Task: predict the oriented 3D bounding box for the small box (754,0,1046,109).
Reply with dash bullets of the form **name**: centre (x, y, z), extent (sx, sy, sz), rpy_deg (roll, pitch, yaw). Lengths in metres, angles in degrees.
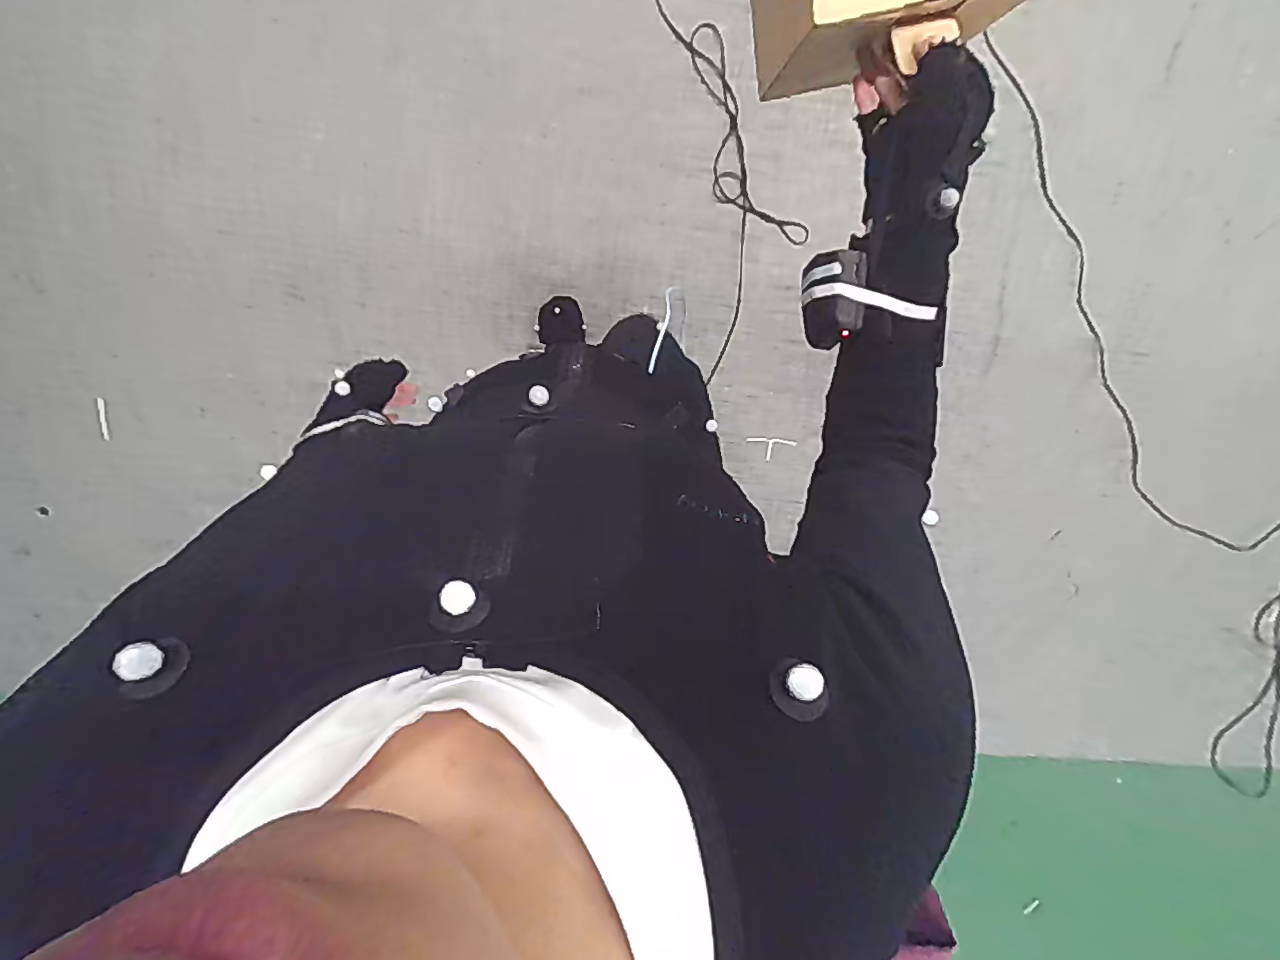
- **small box**: centre (0.183, -0.420, 0.415), extent (0.168, 0.176, 0.179), rpy_deg (-9, 111, 3)
